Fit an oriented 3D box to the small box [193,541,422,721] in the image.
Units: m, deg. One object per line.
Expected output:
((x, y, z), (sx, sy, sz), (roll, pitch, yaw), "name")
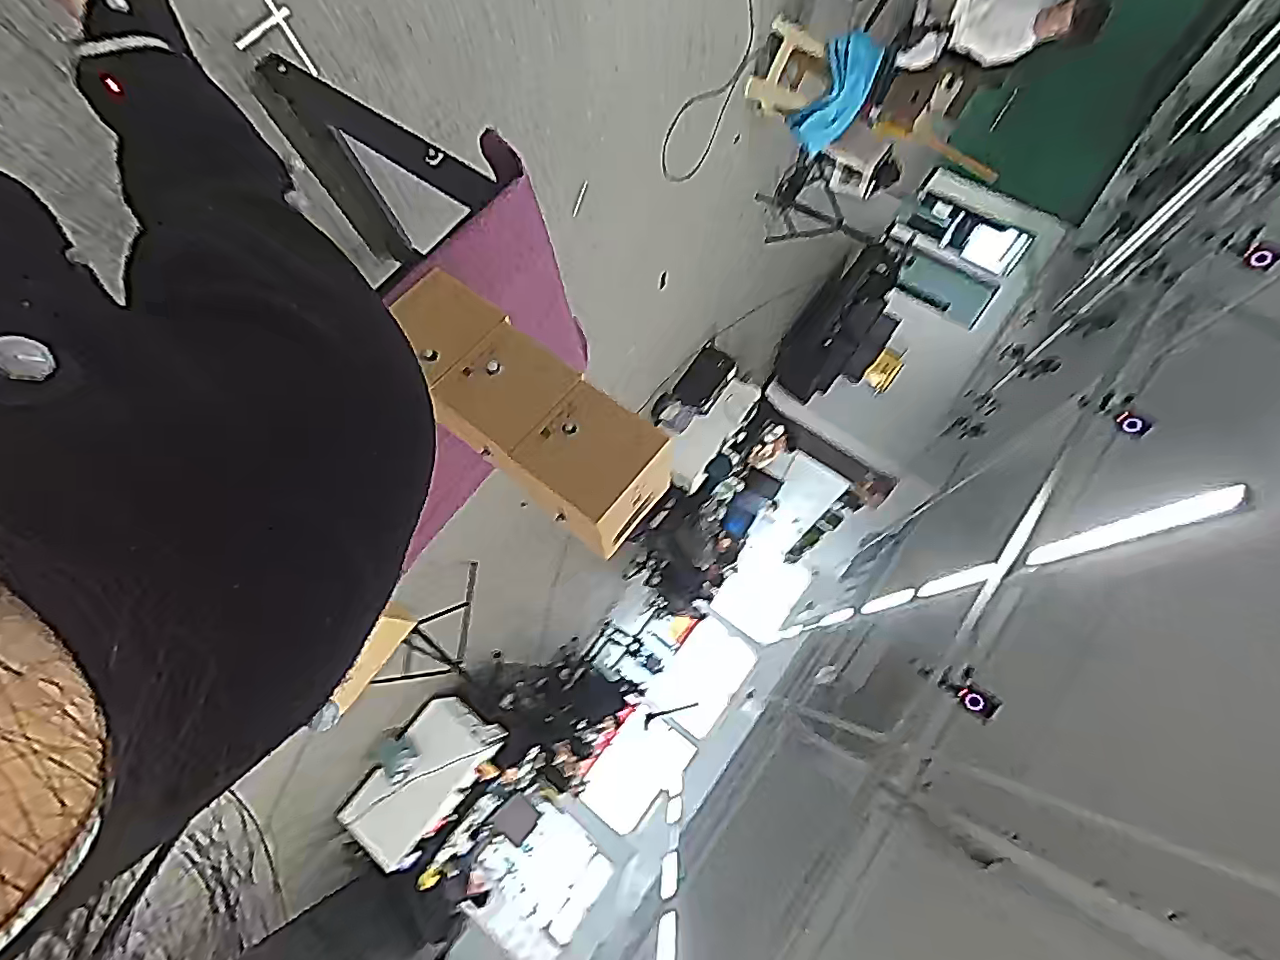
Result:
((-0.454, 0.206, 0.755), (0.168, 0.176, 0.179), (-53, 166, -12), "small box")

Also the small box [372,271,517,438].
((-0.314, -0.210, 0.910), (0.179, 0.176, 0.168), (-50, 165, -16), "small box")

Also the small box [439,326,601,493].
((-0.186, -0.113, 0.875), (0.168, 0.176, 0.179), (-50, 164, -16), "small box")
